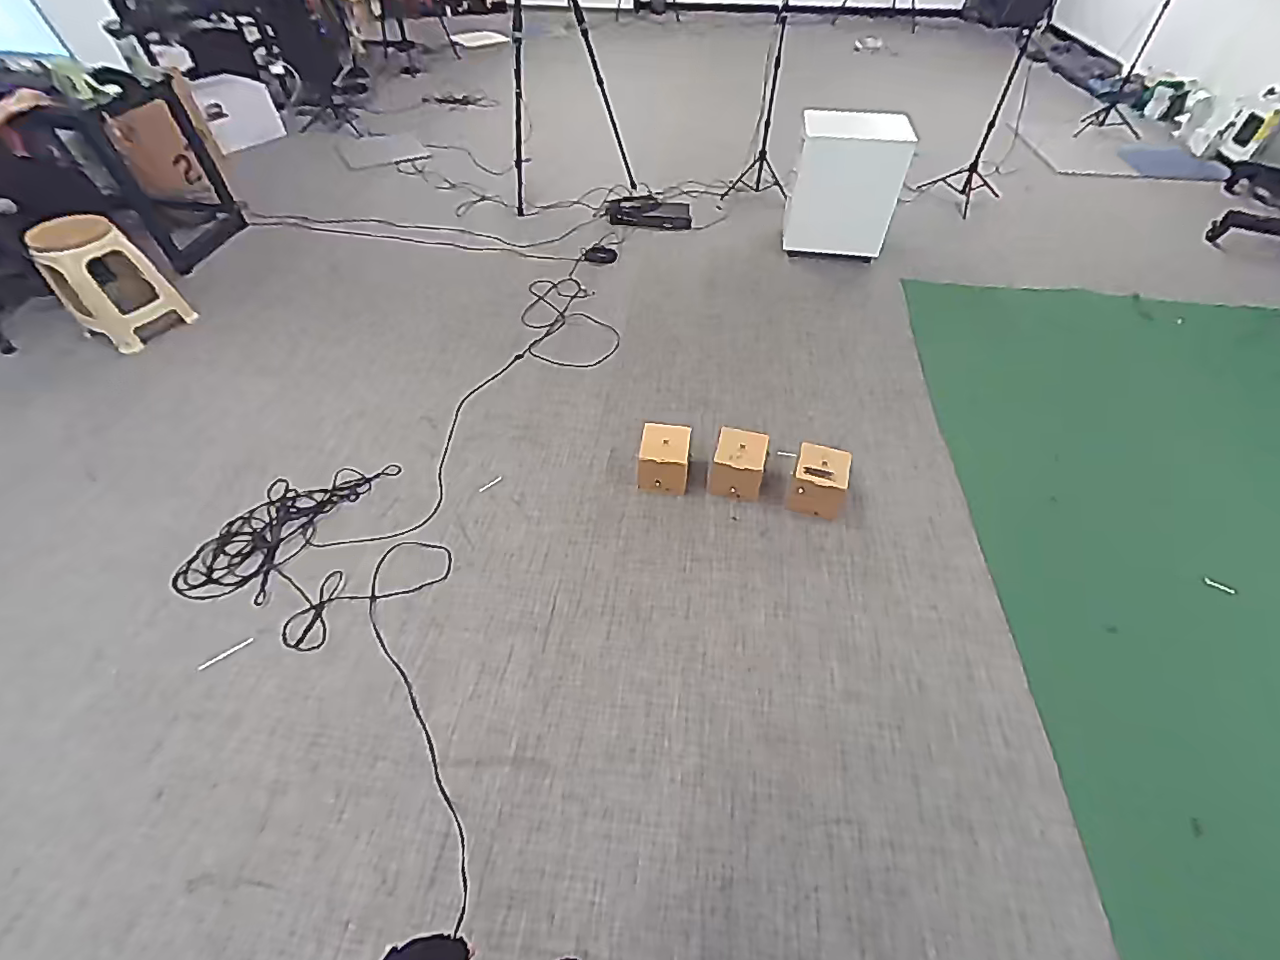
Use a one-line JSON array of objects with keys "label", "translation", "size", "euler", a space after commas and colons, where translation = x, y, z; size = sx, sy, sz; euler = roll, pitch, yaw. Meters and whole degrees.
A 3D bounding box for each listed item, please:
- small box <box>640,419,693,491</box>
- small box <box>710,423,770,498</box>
[{"label": "small box", "translation": [0.090, -0.088, 1.901], "size": [0.168, 0.176, 0.179], "euler": [6, 50, 5]}, {"label": "small box", "translation": [0.345, -0.067, 1.882], "size": [0.168, 0.176, 0.179], "euler": [12, 51, 11]}]
